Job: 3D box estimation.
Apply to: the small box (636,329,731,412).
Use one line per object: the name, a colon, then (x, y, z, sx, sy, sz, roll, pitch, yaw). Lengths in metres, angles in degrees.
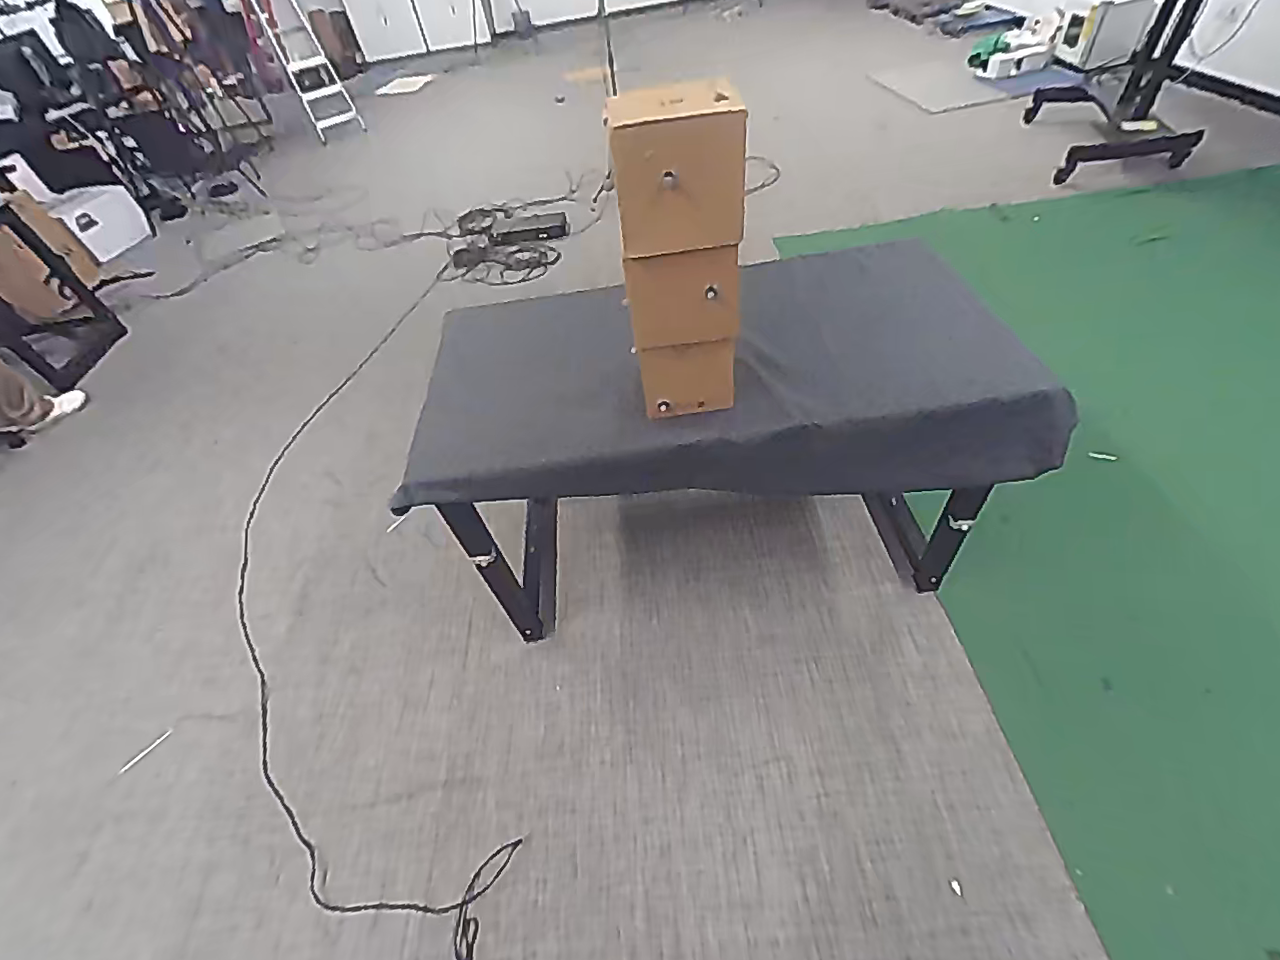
small box: (0.079, -0.248, 1.043, 0.168, 0.176, 0.179, -10, 49, 1)

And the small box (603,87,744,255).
small box: (0.048, -0.446, 0.788, 0.179, 0.176, 0.168, -9, 45, 0)

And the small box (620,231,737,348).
small box: (0.065, -0.344, 0.913, 0.179, 0.176, 0.168, -7, 47, 5)
